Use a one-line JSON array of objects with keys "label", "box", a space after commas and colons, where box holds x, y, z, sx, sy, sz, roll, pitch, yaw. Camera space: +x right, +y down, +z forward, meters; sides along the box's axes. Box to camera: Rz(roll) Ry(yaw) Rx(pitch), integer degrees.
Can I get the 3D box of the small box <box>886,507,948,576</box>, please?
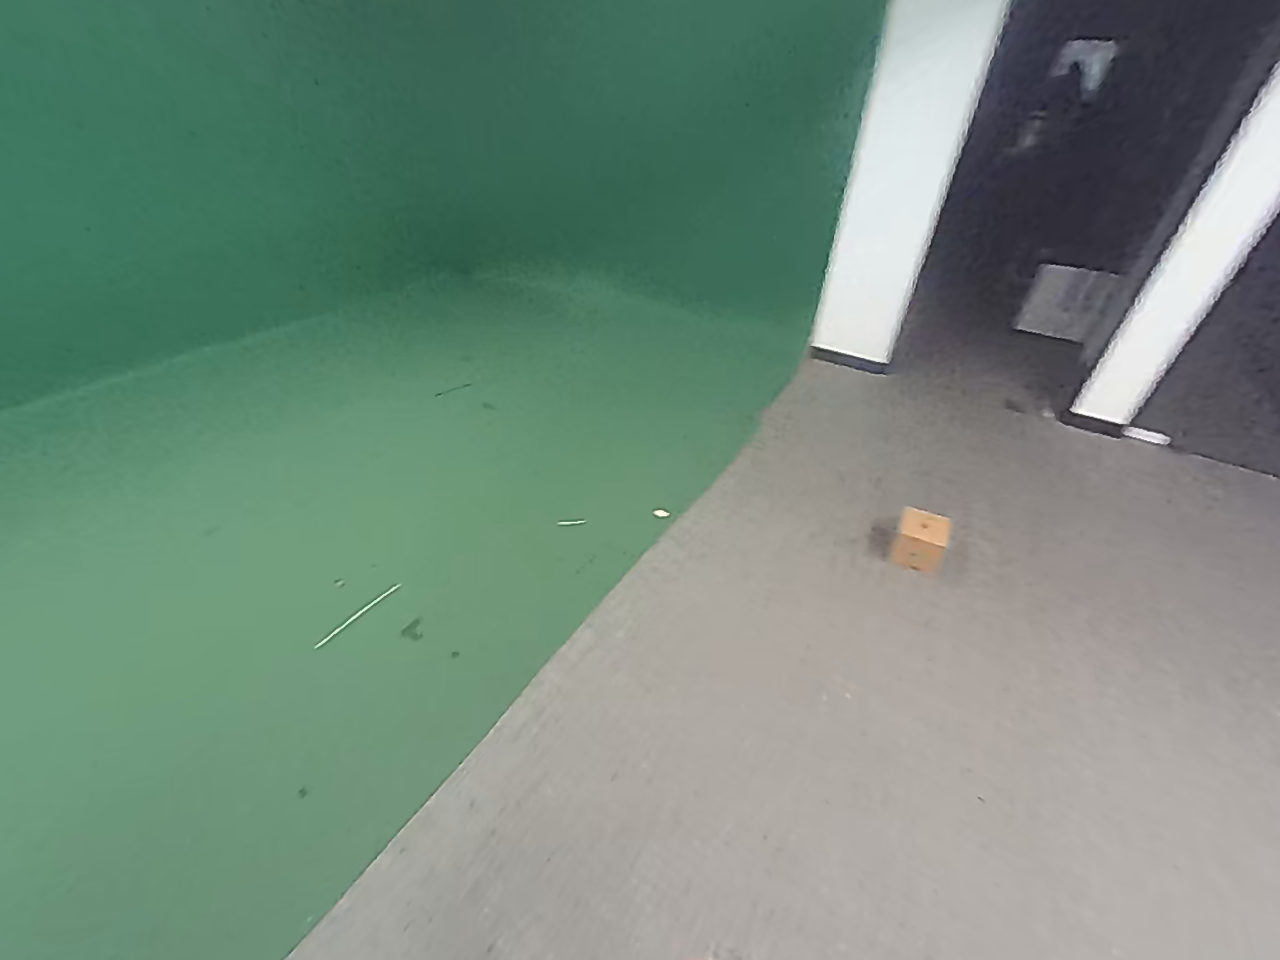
[{"label": "small box", "box": [1.056, 0.237, 2.070, 0.168, 0.176, 0.179, 19, 42, 19]}]
